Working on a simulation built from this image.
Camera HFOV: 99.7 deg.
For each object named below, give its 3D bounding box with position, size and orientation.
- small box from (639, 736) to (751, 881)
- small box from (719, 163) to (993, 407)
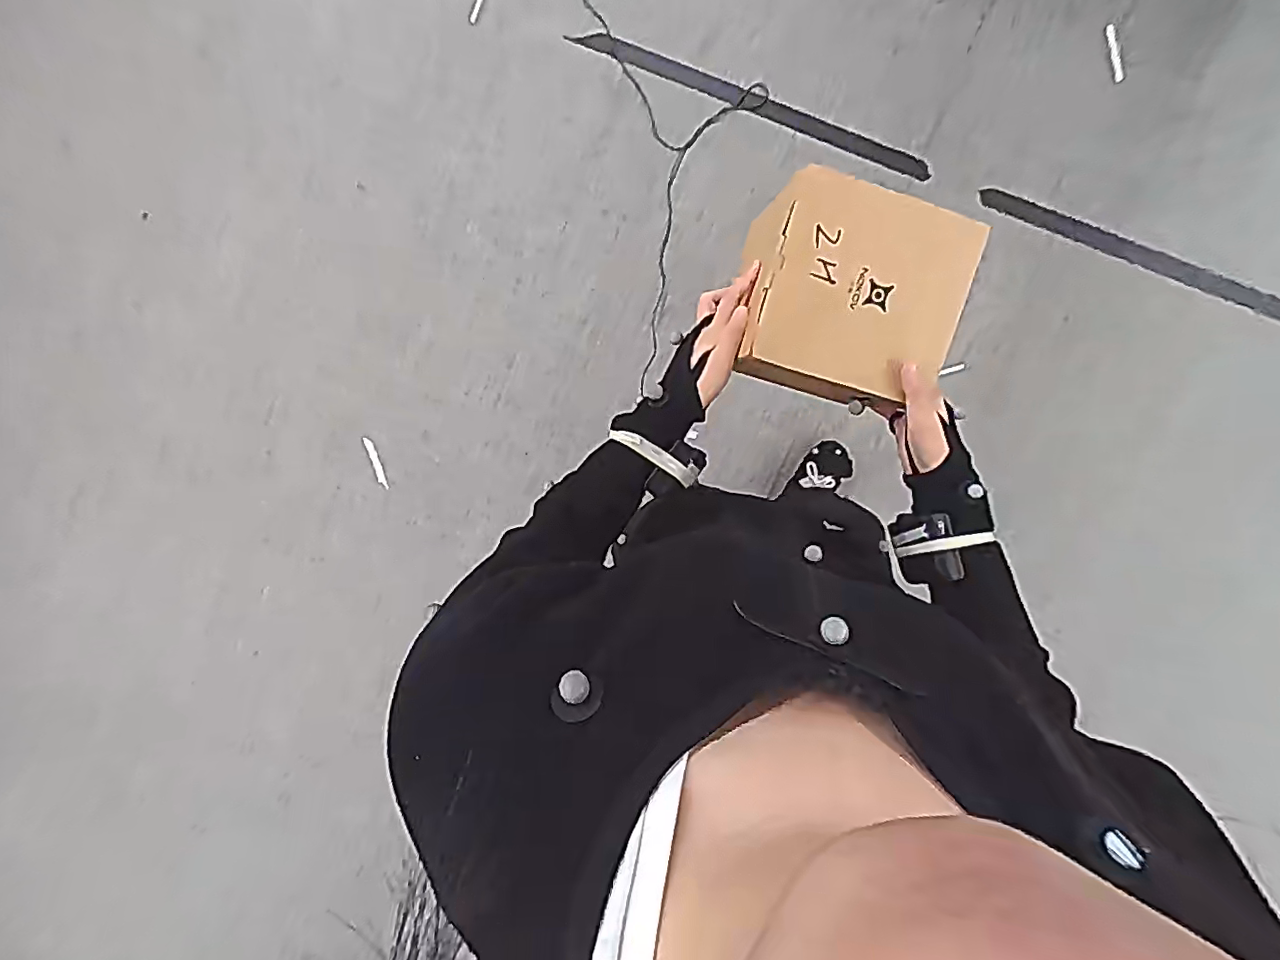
[{"bbox_3d":[0.116,0.678,1.140,0.179,0.176,0.168,24,93,5],"label":"small box"},{"bbox_3d":[0.198,-0.180,0.549,0.179,0.176,0.168,15,98,-6],"label":"small box"}]
